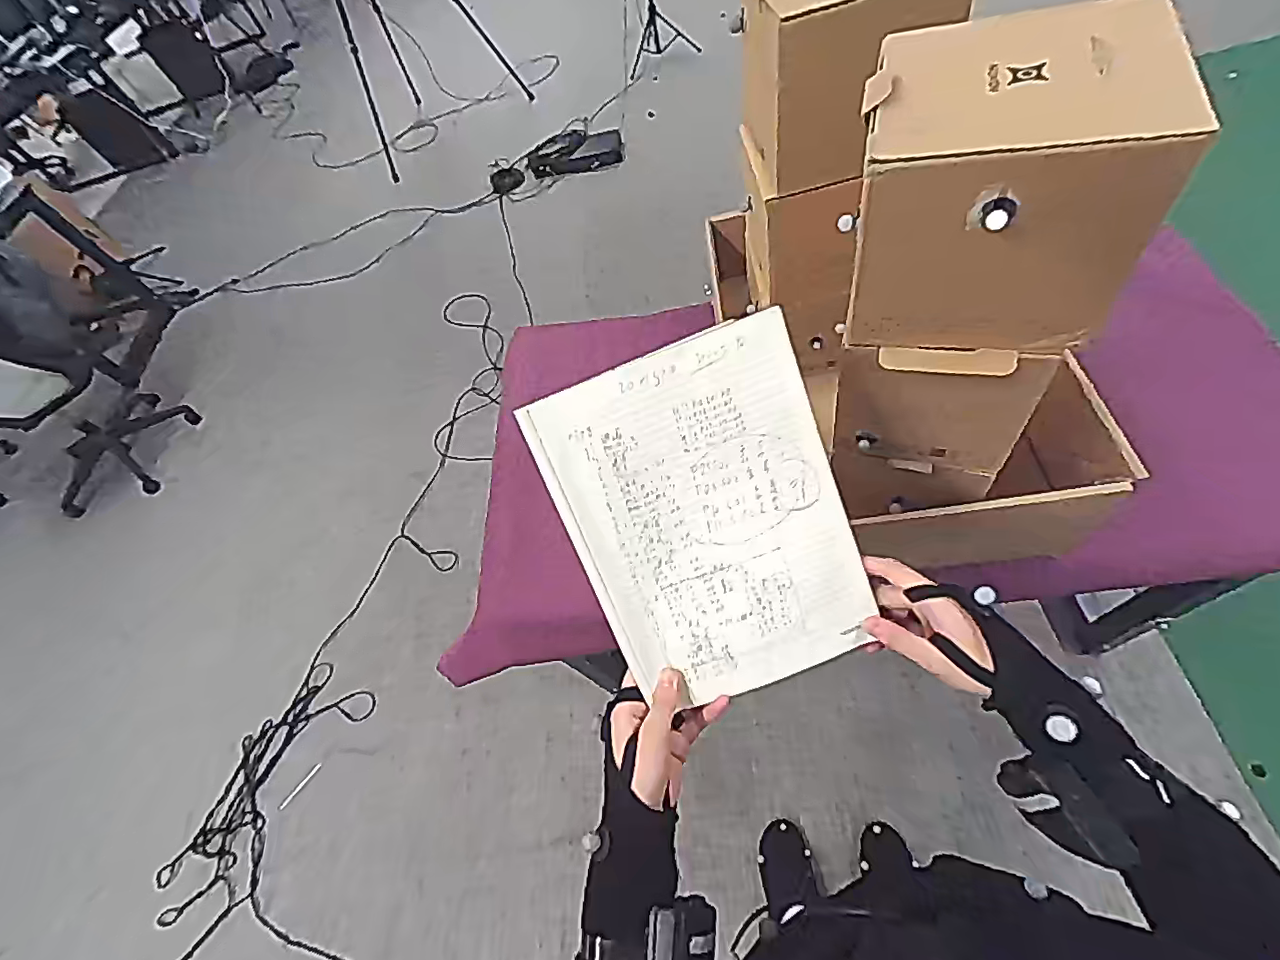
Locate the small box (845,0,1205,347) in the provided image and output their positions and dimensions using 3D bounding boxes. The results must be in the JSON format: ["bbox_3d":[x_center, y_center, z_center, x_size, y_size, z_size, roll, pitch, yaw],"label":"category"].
[{"bbox_3d":[0.260,-0.219,0.415,0.179,0.176,0.168,7,62,20],"label":"small box"}]

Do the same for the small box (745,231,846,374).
[{"bbox_3d":[0.263,-0.286,0.851,0.168,0.176,0.179,-9,60,10],"label":"small box"}]

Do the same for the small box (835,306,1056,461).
[{"bbox_3d":[0.297,-0.139,0.551,0.168,0.176,0.179,9,61,22],"label":"small box"}]

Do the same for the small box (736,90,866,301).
[{"bbox_3d":[0.232,-0.363,0.712,0.179,0.176,0.168,-11,59,8],"label":"small box"}]
